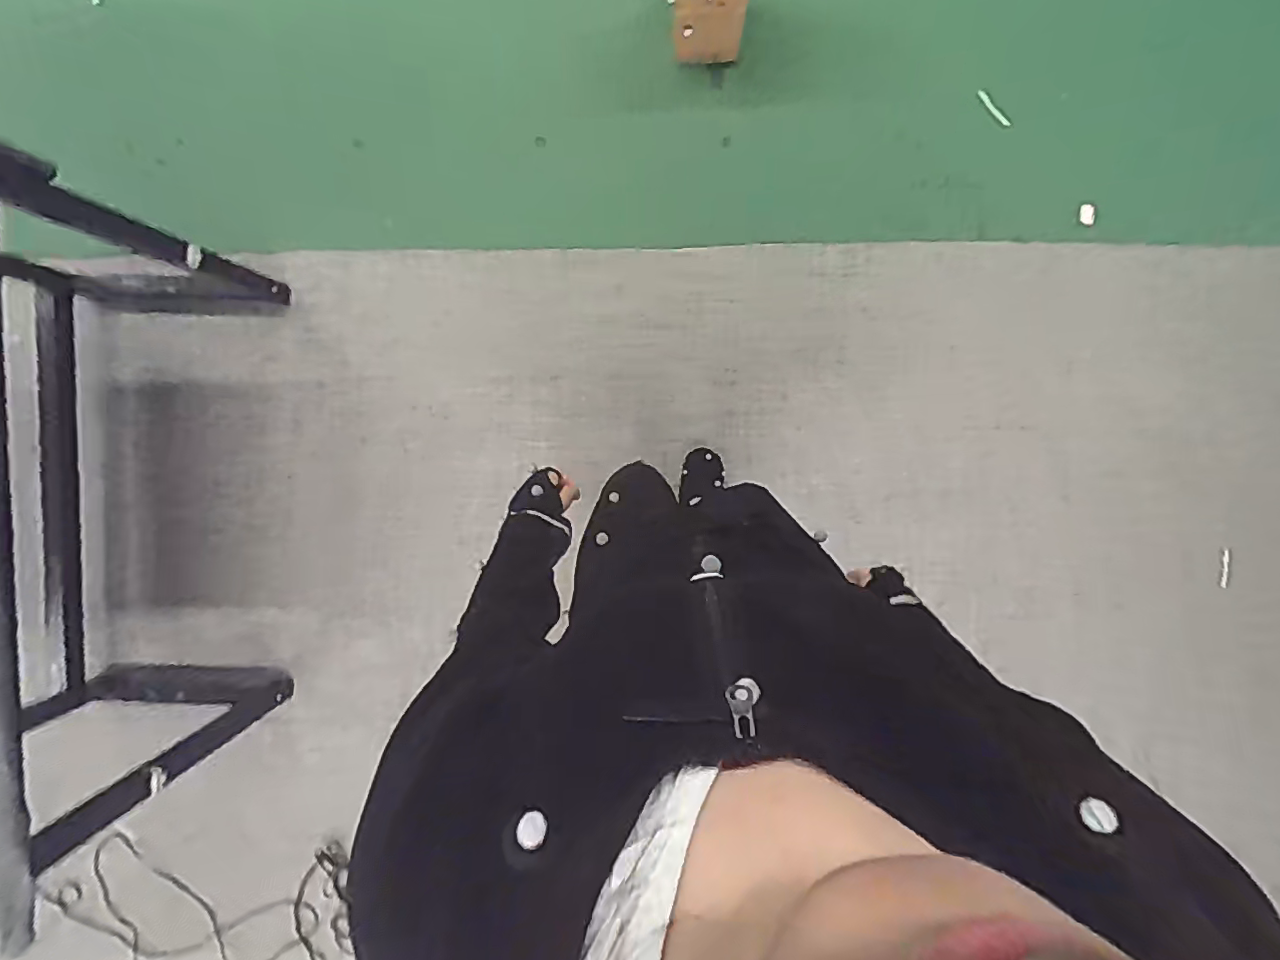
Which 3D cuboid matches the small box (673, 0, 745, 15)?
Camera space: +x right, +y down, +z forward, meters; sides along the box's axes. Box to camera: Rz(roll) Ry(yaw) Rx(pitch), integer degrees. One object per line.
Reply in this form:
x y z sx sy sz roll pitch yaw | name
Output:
0.158 -1.166 1.172 0.168 0.176 0.179 0 93 0 | small box
